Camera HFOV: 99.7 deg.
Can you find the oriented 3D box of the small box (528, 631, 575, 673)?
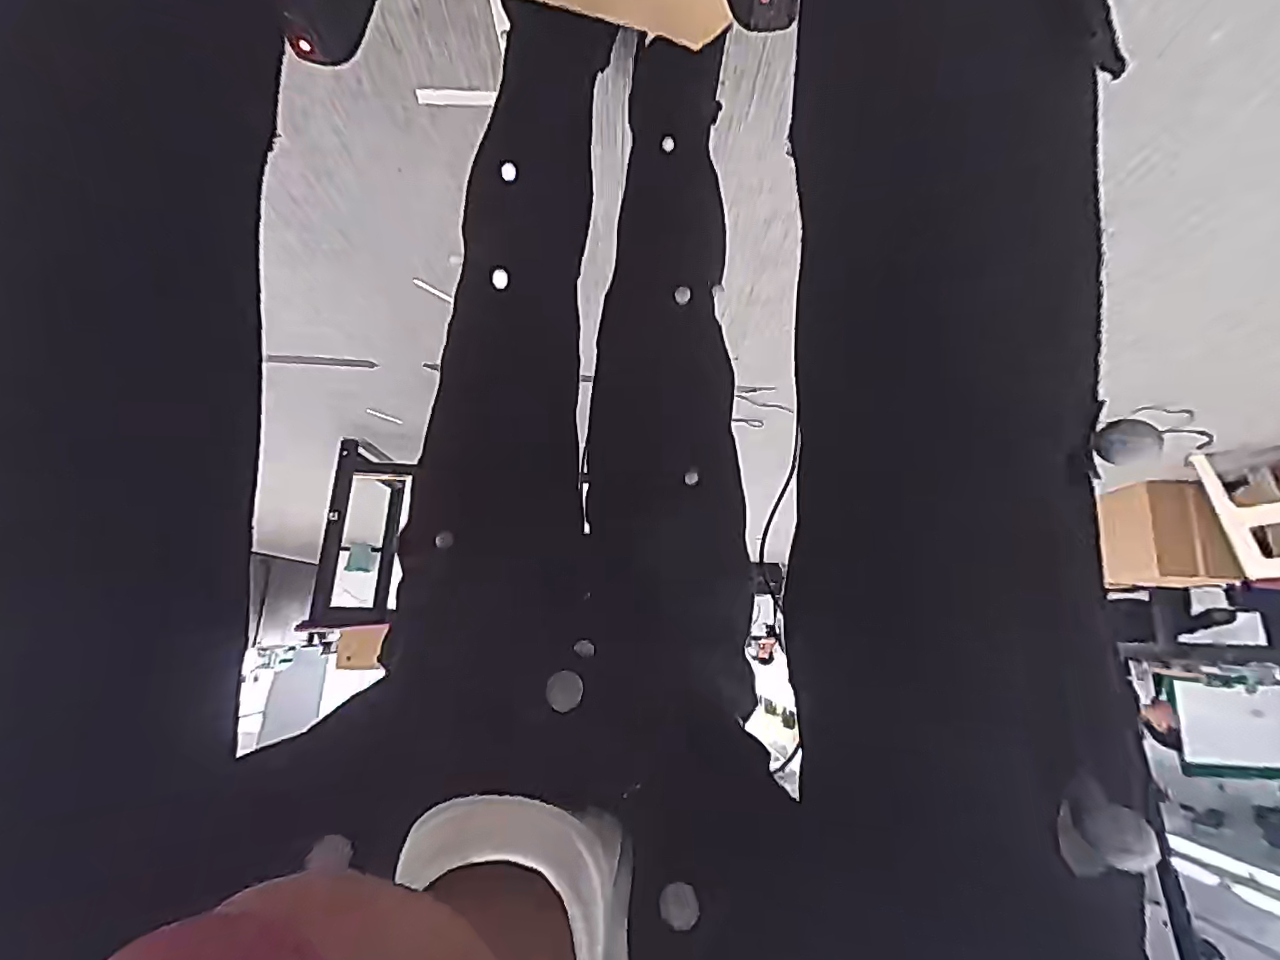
[{"bbox_3d":[-0.390,0.766,2.415,0.179,0.176,0.168,2,165,1],"label":"small box"}]

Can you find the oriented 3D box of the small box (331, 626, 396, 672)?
[{"bbox_3d":[-1.106,0.675,2.173,0.179,0.176,0.168,3,167,-4],"label":"small box"}]
